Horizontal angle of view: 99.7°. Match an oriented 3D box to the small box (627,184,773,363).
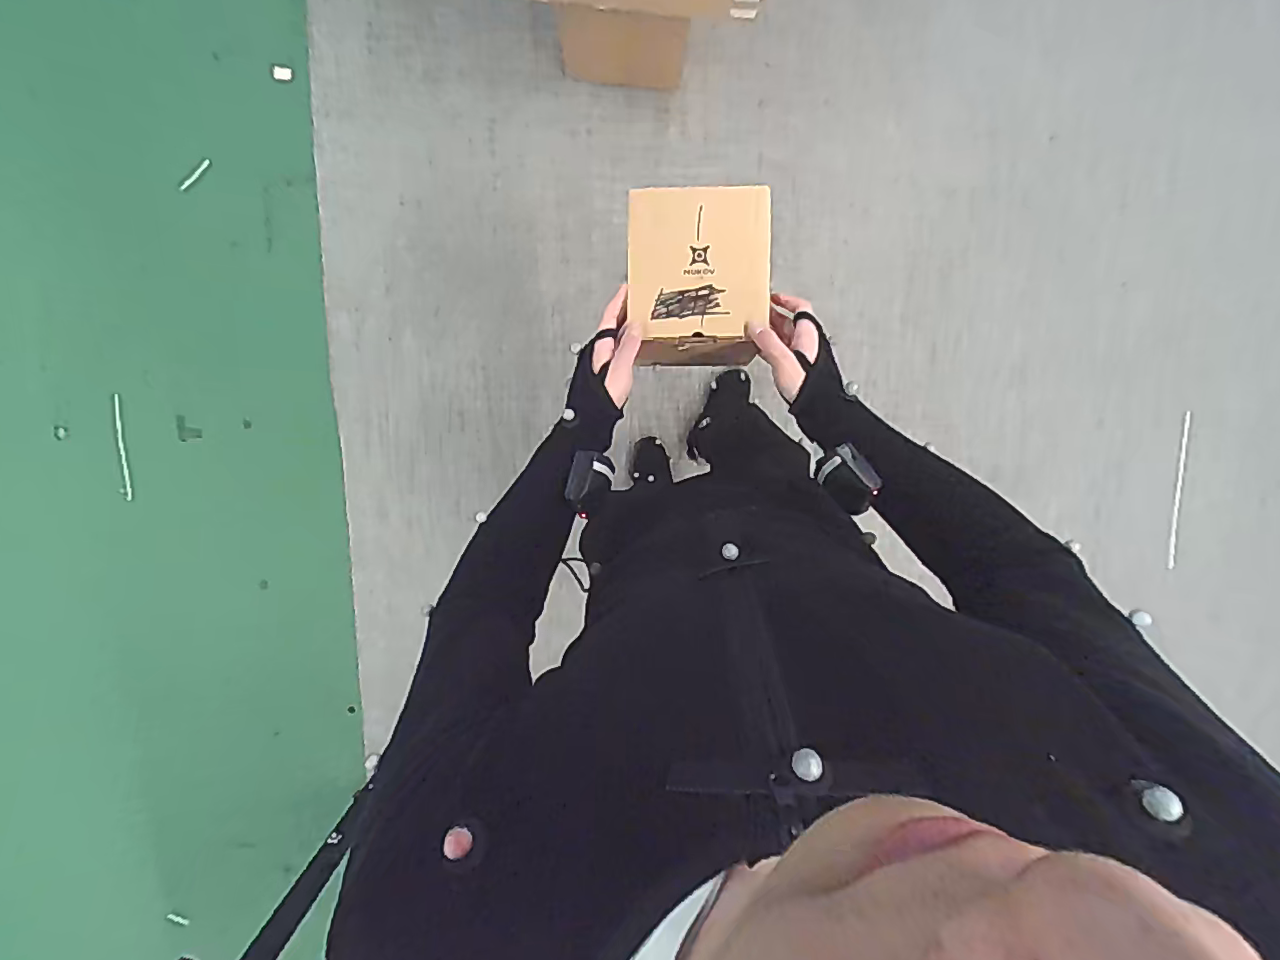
[{"bbox_3d":[0.073,-0.252,0.699,0.168,0.176,0.179,1,90,3],"label":"small box"}]
